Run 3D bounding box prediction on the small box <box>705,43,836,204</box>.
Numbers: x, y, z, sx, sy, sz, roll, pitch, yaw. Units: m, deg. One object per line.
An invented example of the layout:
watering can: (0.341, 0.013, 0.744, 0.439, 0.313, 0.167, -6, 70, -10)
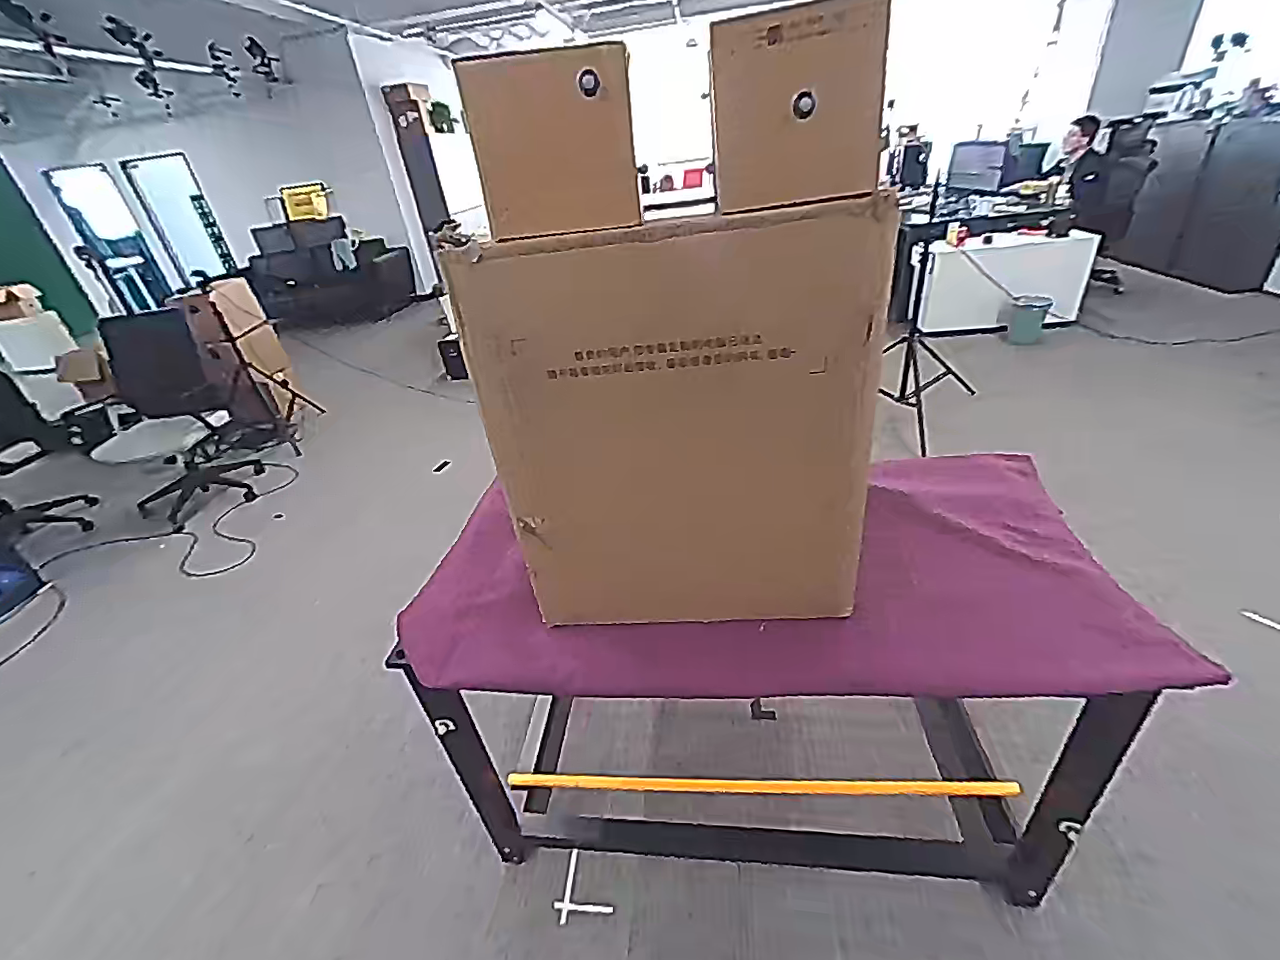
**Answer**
small box: (0.183, -0.510, 0.794, 0.168, 0.176, 0.179, -3, 31, 10)
